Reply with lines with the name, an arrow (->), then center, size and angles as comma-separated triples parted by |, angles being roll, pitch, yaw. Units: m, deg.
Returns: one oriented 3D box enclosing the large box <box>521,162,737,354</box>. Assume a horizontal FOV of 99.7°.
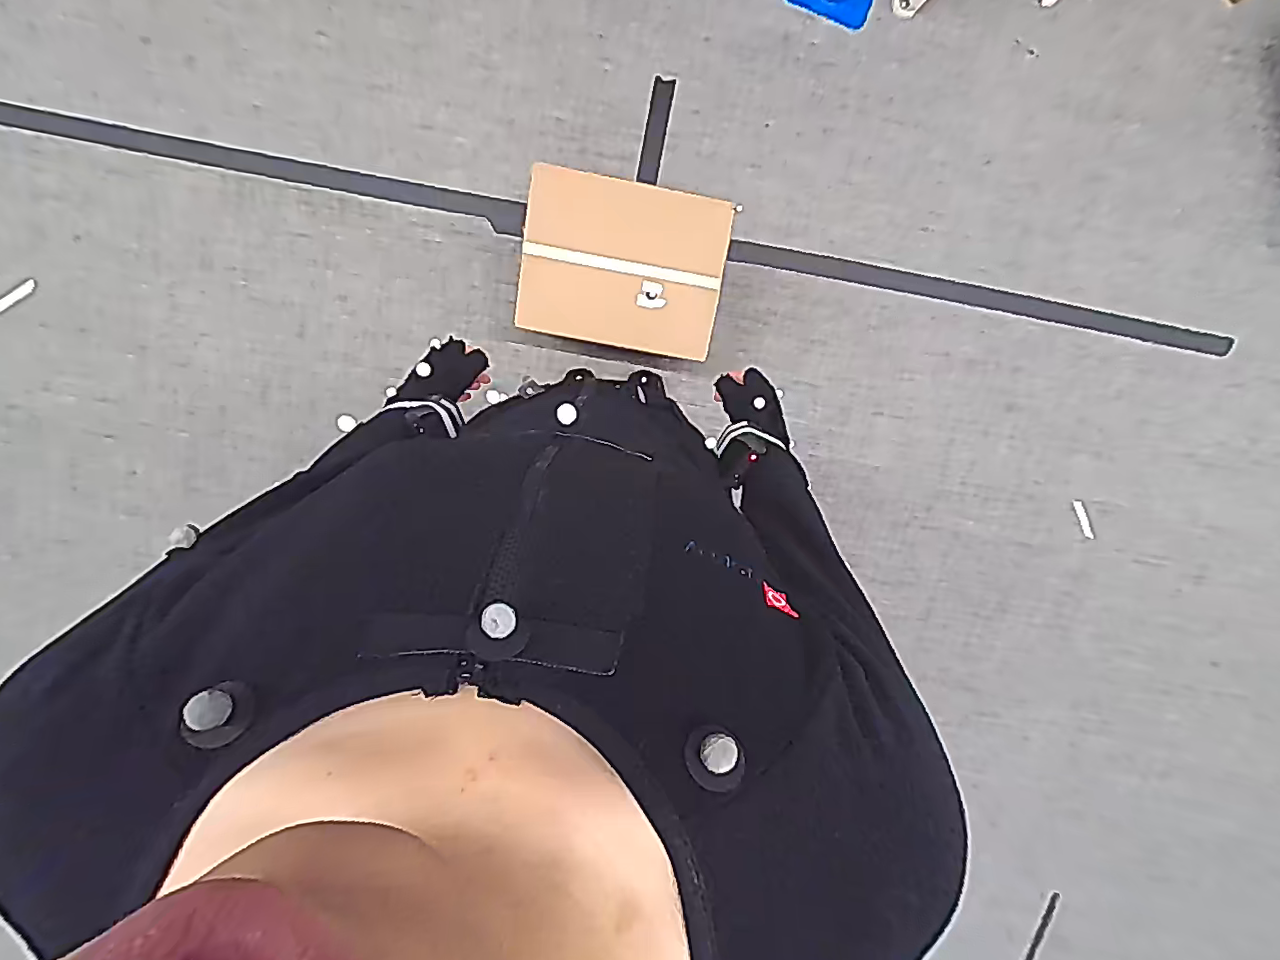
large box -> -0.034, -0.474, 1.231 | 0.408, 0.320, 0.320 | 9, 104, -4
